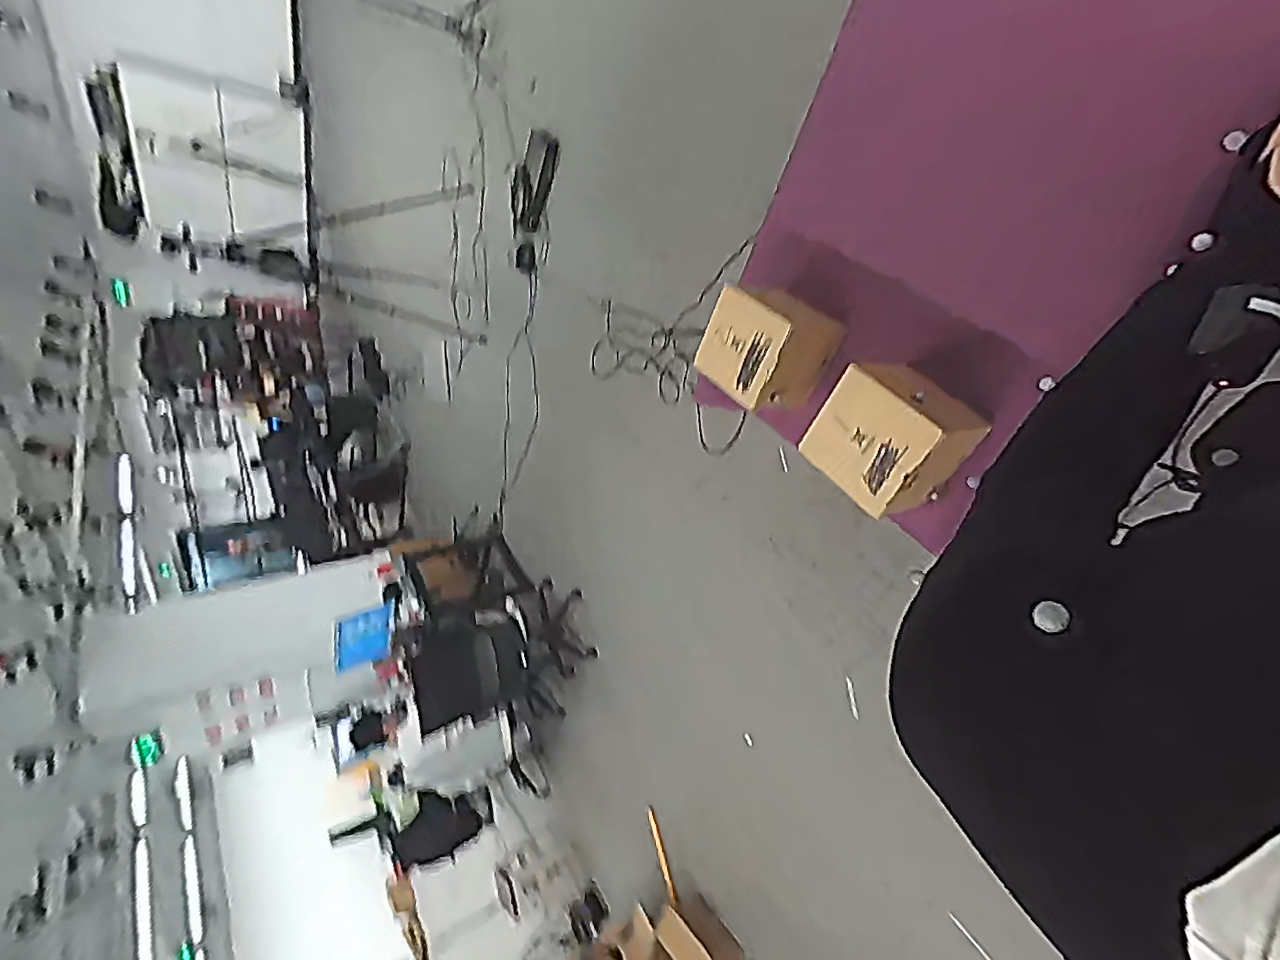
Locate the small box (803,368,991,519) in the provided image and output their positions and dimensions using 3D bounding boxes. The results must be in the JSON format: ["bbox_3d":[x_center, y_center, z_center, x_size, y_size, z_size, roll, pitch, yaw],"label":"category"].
[{"bbox_3d":[0.406,-0.067,0.859,0.179,0.176,0.168,51,134,34],"label":"small box"}]
